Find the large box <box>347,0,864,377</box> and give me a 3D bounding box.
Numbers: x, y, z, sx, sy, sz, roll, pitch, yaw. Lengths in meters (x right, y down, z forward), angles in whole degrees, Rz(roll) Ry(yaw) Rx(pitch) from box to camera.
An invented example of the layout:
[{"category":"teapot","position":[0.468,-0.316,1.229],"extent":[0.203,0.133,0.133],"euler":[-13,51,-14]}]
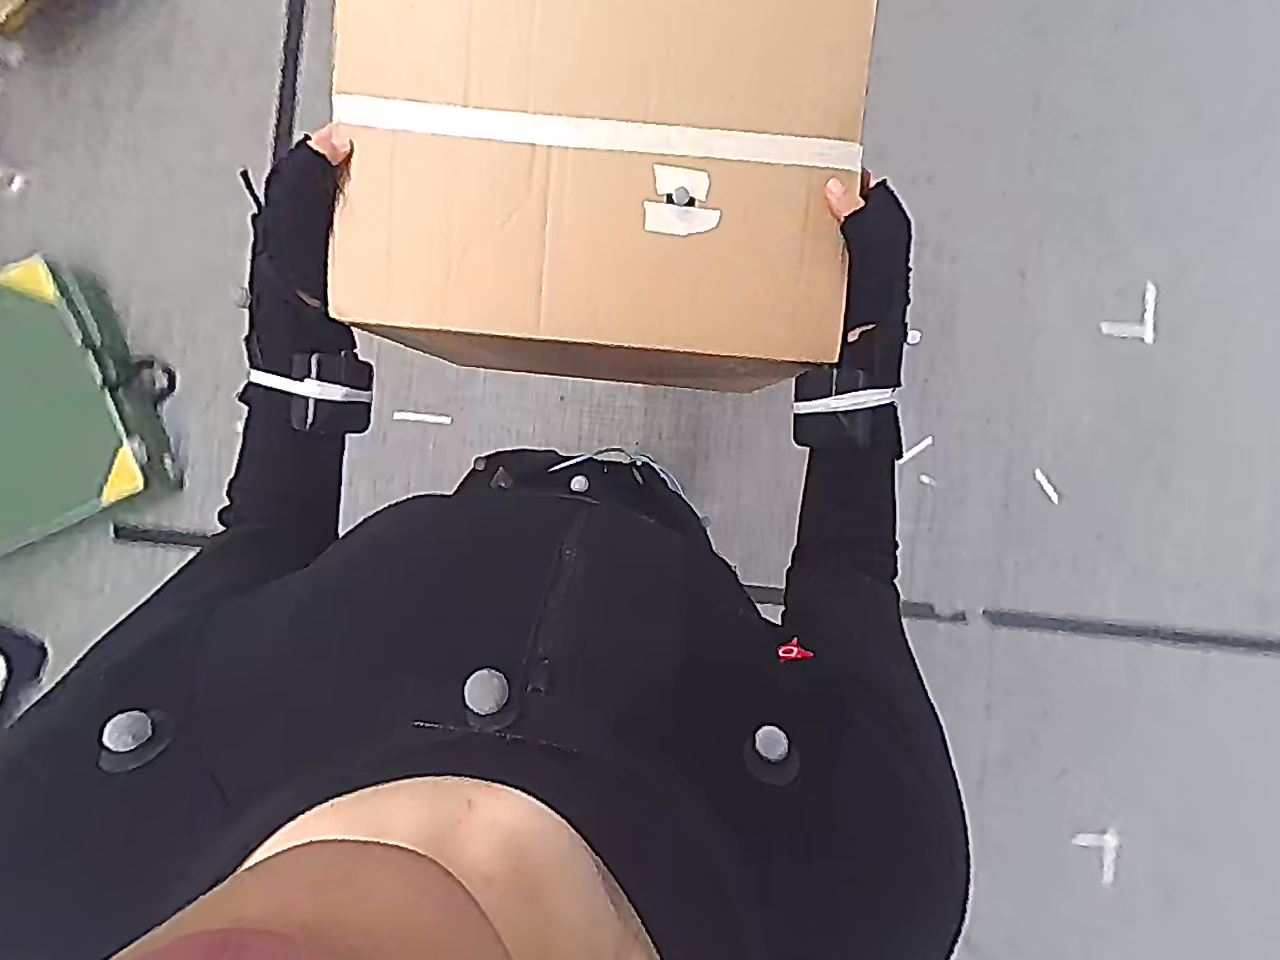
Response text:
[{"category":"large box","position":[-0.034,-0.287,0.574],"extent":[0.408,0.320,0.320],"euler":[3,96,-2]}]
